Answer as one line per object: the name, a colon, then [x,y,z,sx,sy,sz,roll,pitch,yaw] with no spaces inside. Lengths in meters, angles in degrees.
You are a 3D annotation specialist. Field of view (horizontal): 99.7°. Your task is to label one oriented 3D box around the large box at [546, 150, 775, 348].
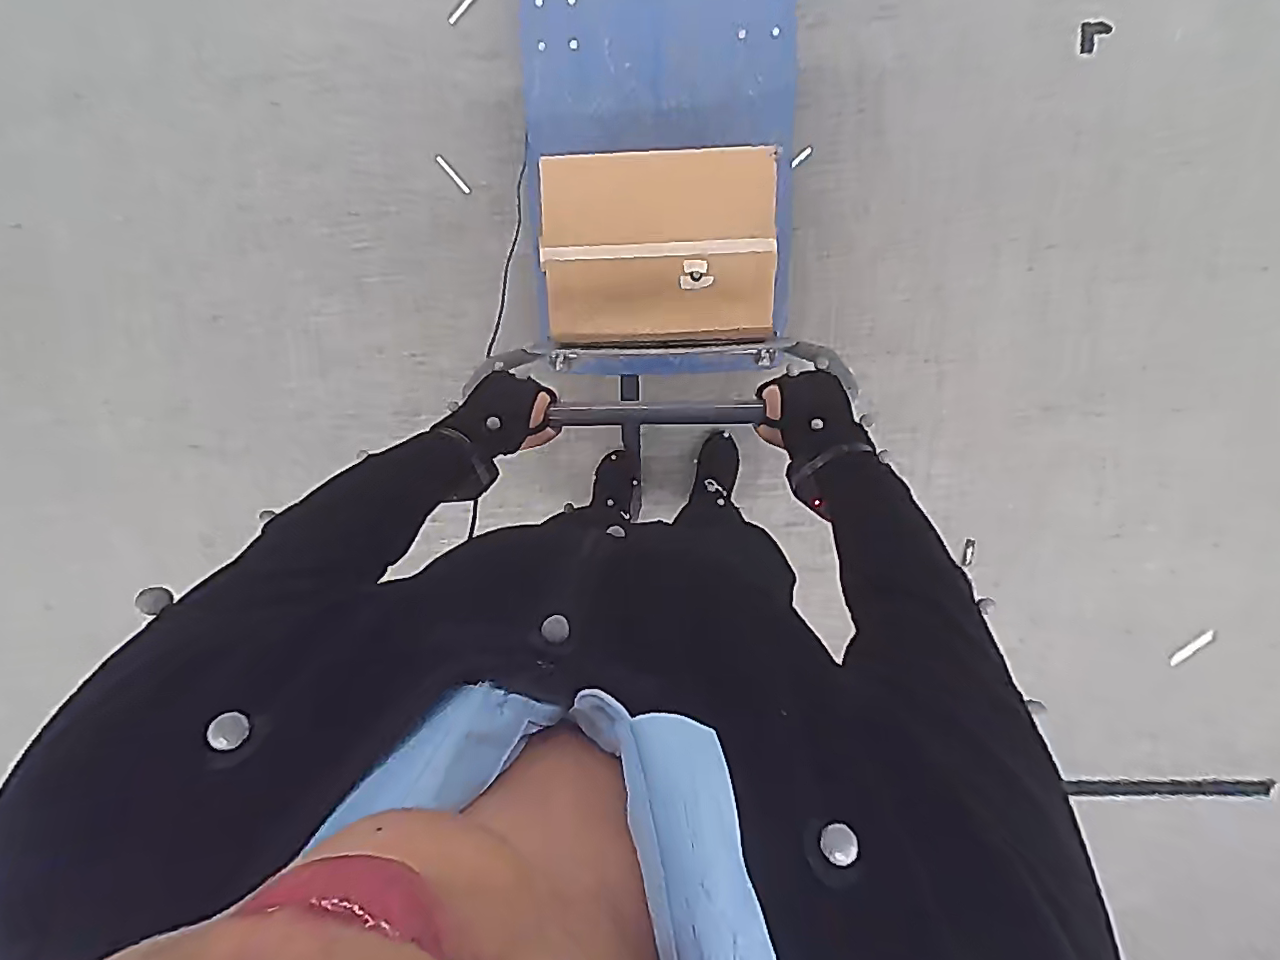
large box: [0.043,-0.442,1.110,0.408,0.320,0.320,-1,103,2]
